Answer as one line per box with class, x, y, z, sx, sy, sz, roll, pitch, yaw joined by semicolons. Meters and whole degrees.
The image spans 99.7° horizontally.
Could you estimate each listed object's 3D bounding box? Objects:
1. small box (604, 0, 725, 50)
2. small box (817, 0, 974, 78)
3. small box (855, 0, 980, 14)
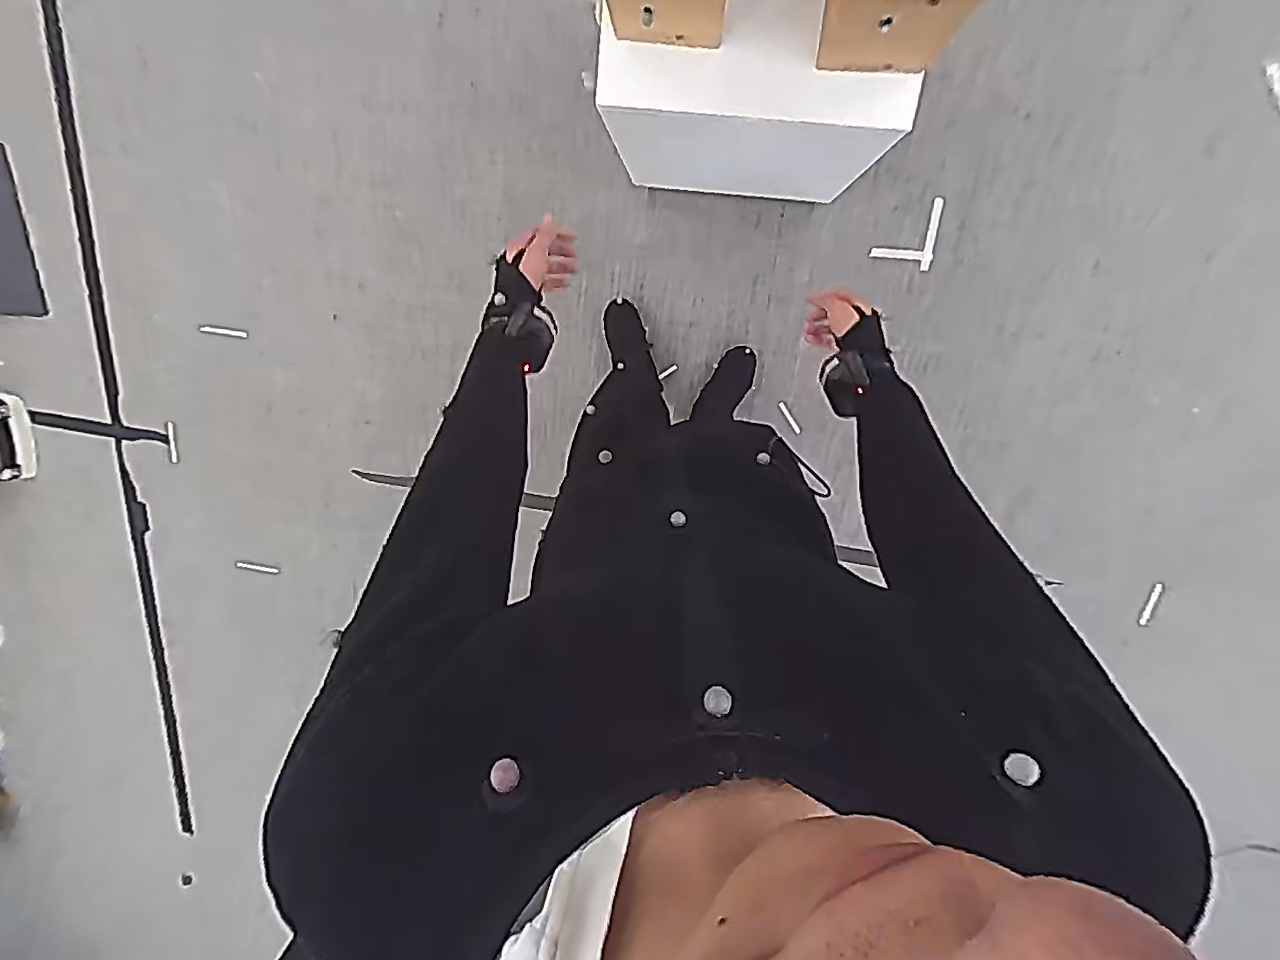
small box;0.043;-0.738;0.748;0.168;0.176;0.179;8;106;3
small box;0.346;-0.684;0.729;0.168;0.176;0.179;6;106;6
small box;0.328;-0.639;0.572;0.168;0.176;0.179;7;107;5
